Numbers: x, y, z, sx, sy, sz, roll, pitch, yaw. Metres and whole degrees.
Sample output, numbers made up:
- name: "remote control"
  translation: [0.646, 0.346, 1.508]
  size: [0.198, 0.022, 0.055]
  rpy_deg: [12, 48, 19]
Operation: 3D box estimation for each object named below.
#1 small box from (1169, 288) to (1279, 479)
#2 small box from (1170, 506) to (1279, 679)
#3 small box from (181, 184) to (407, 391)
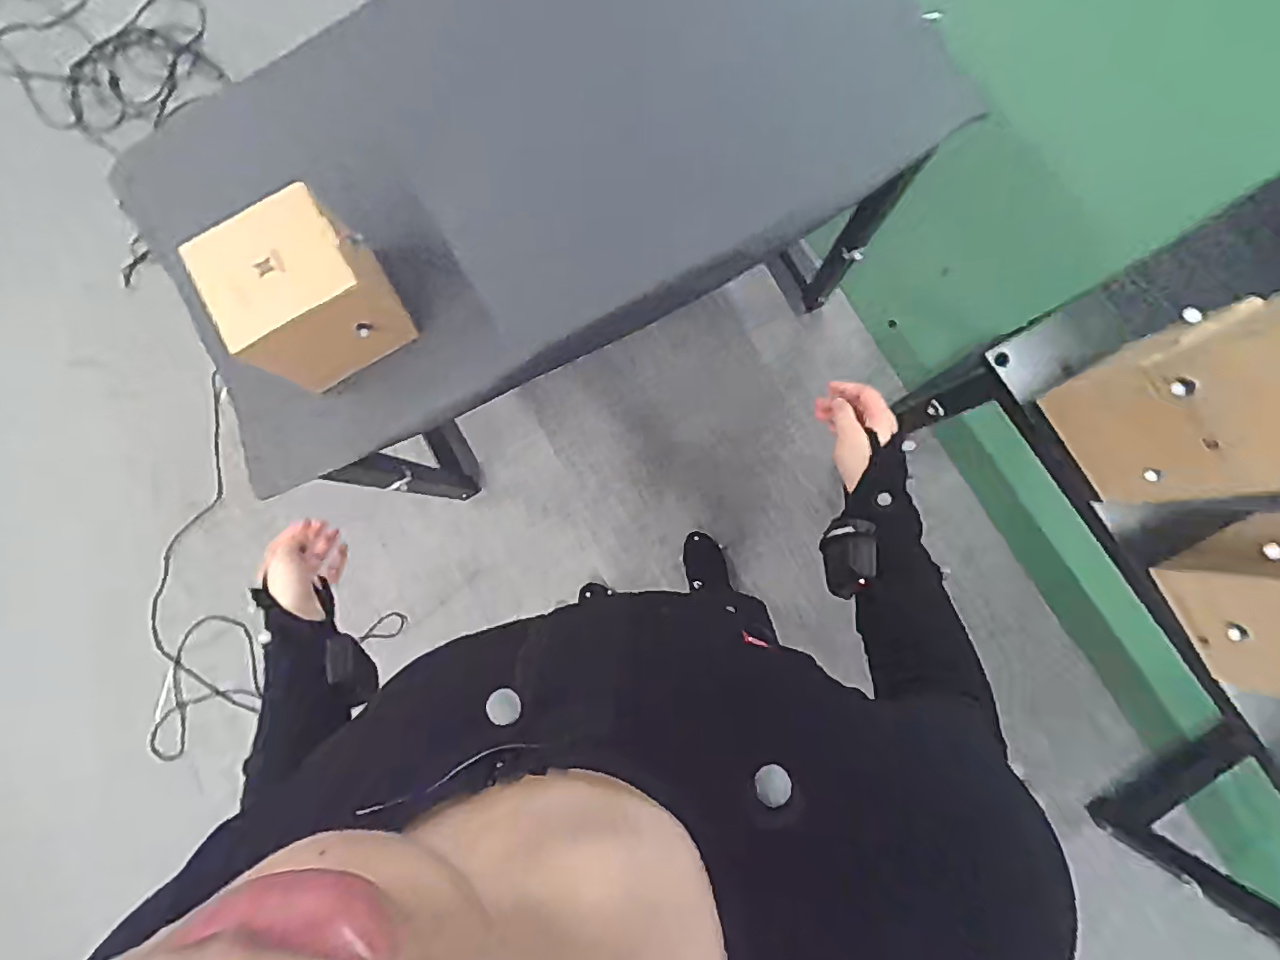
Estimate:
- name: "small box"
  translation: [0.676, -0.111, 0.516]
  size: [0.179, 0.176, 0.168]
  rpy_deg: [-28, 86, -1]
- name: "small box"
  translation: [0.813, 0.137, 0.654]
  size: [0.179, 0.176, 0.168]
  rpy_deg: [-27, 85, 0]
- name: "small box"
  translation: [-0.450, -0.248, 0.739]
  size: [0.179, 0.176, 0.168]
  rpy_deg: [-32, 82, 0]
